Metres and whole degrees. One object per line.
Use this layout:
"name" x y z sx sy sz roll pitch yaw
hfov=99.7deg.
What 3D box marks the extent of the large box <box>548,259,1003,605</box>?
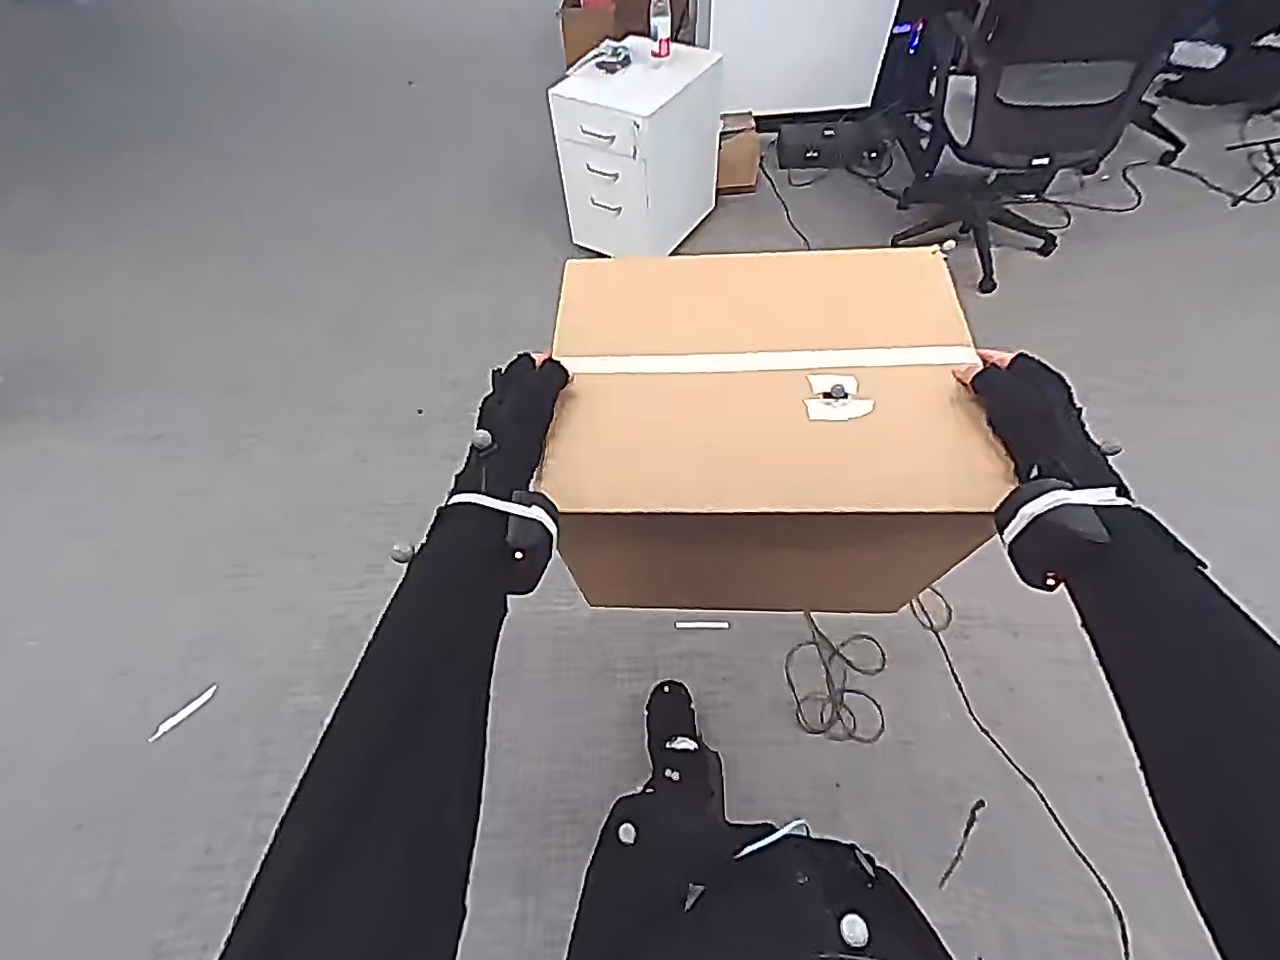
"large box" 0.125 -0.038 0.672 0.408 0.320 0.320 0 62 5
